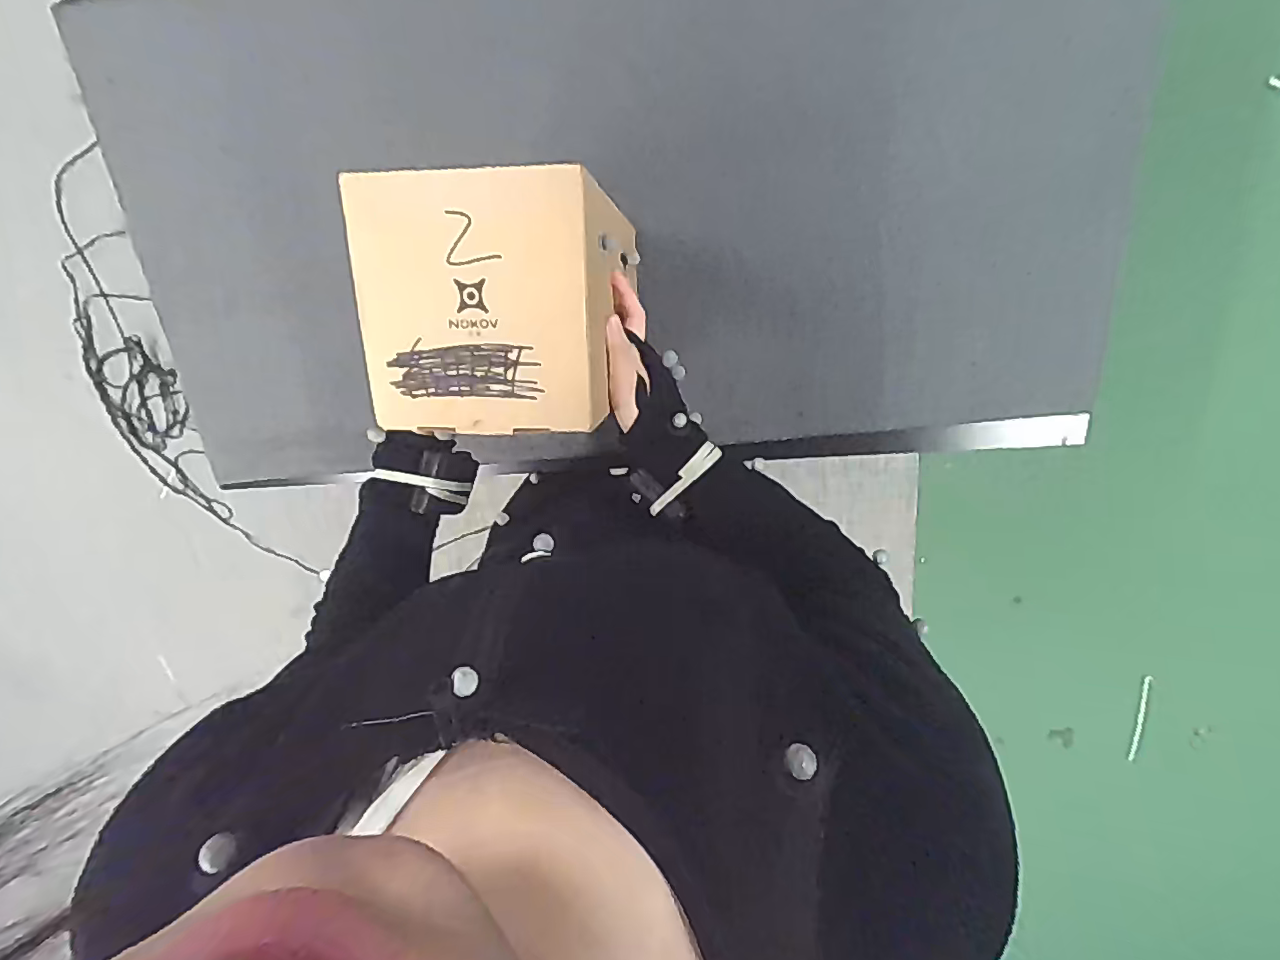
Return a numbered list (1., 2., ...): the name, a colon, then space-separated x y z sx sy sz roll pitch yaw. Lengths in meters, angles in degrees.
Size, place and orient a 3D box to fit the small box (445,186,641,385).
1. small box: -0.090 -0.202 0.590 0.168 0.176 0.179 0 108 7
